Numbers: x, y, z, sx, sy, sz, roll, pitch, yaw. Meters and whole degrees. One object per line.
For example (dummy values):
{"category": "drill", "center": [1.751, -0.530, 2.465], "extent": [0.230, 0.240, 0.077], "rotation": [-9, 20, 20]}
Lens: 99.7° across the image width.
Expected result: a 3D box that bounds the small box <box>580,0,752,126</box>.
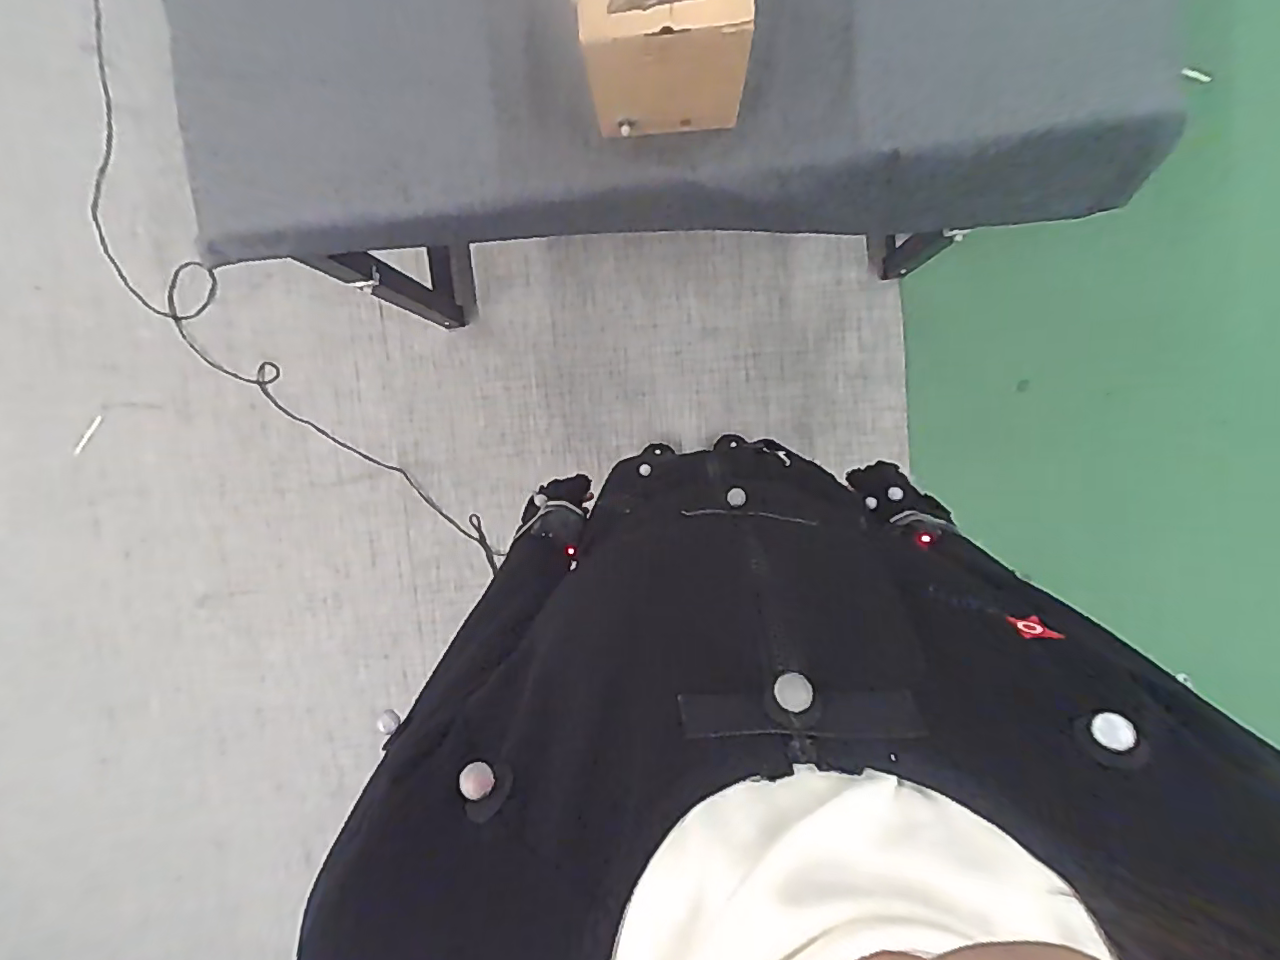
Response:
{"category": "small box", "center": [0.027, -0.512, 0.584], "extent": [0.168, 0.176, 0.179], "rotation": [-2, 94, 3]}
